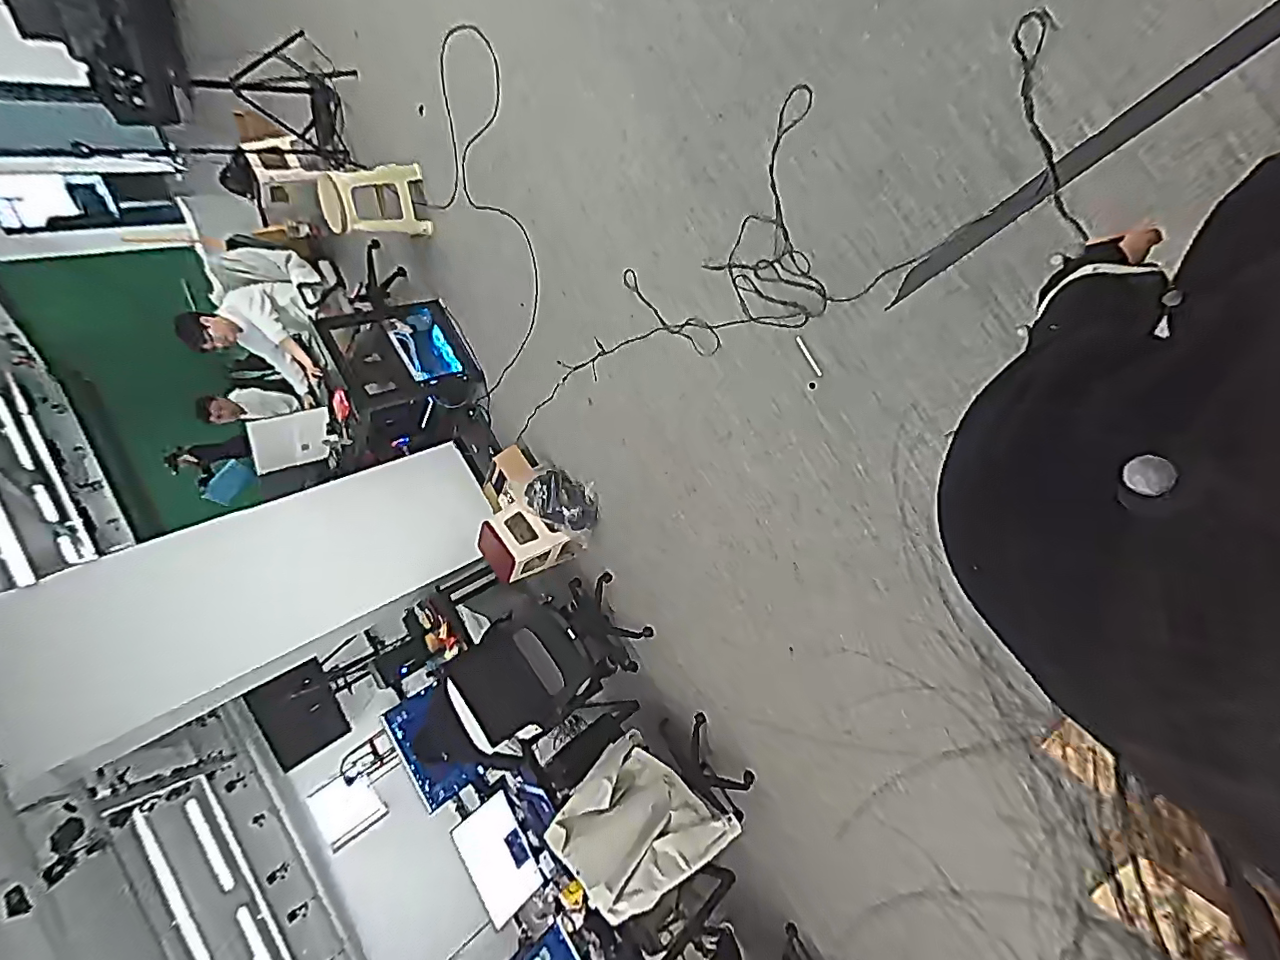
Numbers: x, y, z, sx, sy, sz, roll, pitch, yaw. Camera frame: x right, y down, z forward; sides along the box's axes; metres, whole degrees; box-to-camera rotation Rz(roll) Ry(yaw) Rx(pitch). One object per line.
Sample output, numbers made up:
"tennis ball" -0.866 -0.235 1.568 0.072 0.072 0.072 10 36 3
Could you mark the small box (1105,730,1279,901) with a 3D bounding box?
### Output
"small box" 1.023 0.611 1.002 0.179 0.176 0.168 32 132 37
